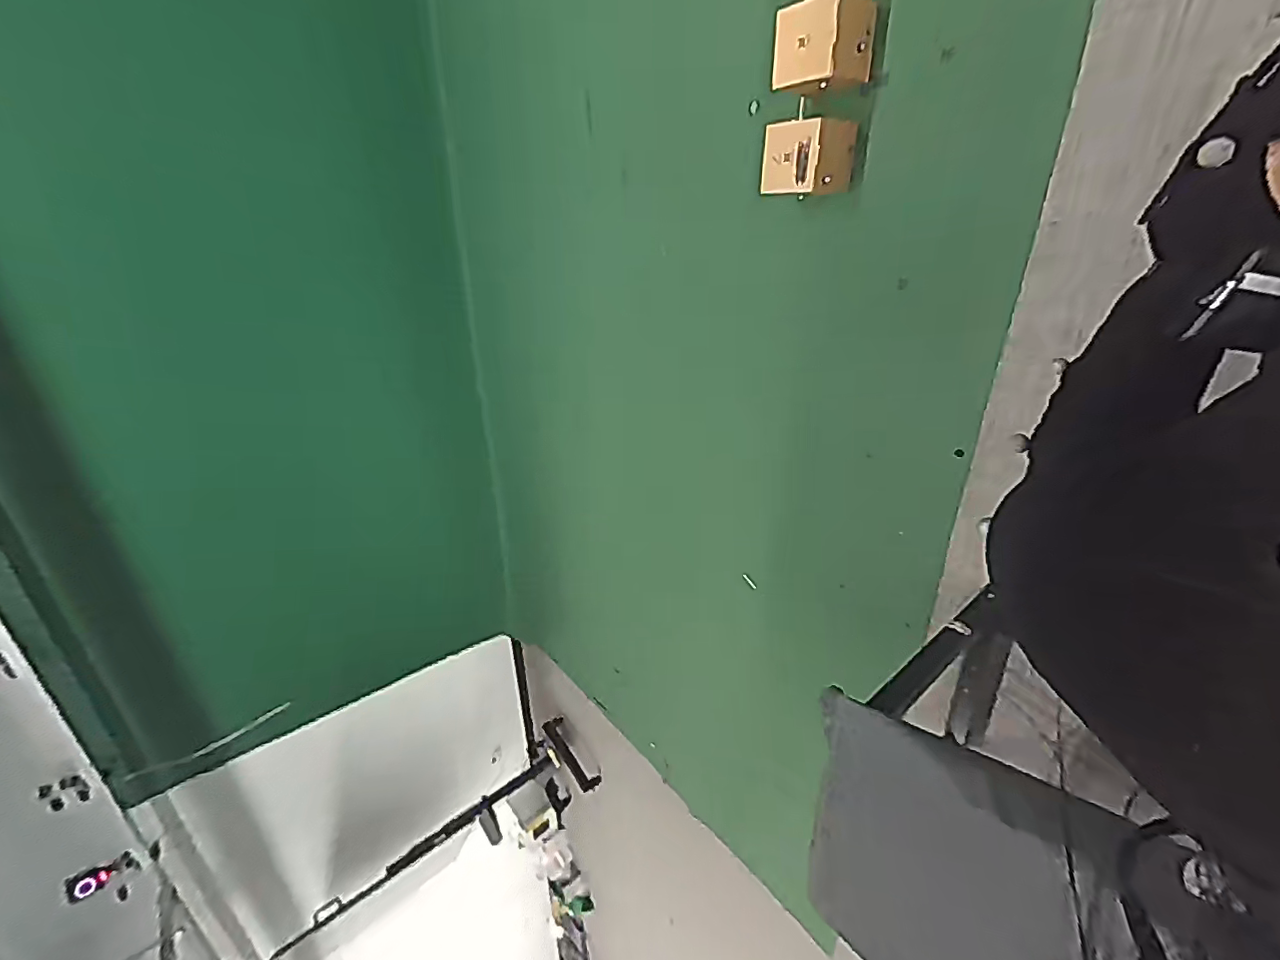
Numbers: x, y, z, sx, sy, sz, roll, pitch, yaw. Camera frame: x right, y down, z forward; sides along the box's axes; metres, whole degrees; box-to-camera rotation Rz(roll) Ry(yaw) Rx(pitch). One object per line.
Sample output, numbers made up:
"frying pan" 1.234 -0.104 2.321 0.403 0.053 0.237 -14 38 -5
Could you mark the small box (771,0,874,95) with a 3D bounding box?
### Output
"small box" 0.457 -1.094 1.363 0.179 0.176 0.168 25 124 44
